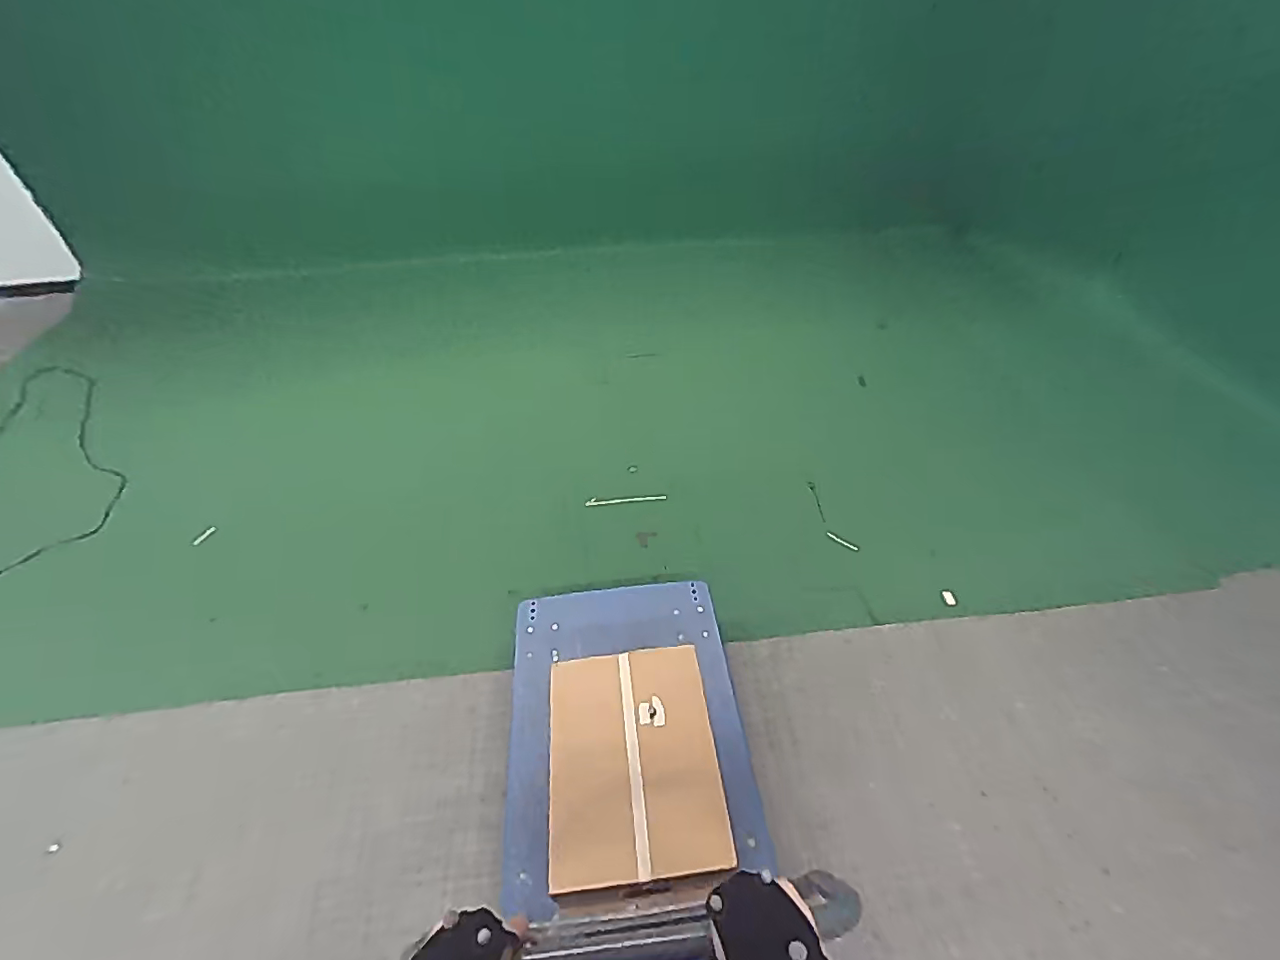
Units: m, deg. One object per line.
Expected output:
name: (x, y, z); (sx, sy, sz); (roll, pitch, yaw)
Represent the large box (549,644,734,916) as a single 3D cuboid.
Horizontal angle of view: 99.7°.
large box: (-0.008, 0.617, 1.129); (0.320, 0.320, 0.408); (-6, 44, -3)
